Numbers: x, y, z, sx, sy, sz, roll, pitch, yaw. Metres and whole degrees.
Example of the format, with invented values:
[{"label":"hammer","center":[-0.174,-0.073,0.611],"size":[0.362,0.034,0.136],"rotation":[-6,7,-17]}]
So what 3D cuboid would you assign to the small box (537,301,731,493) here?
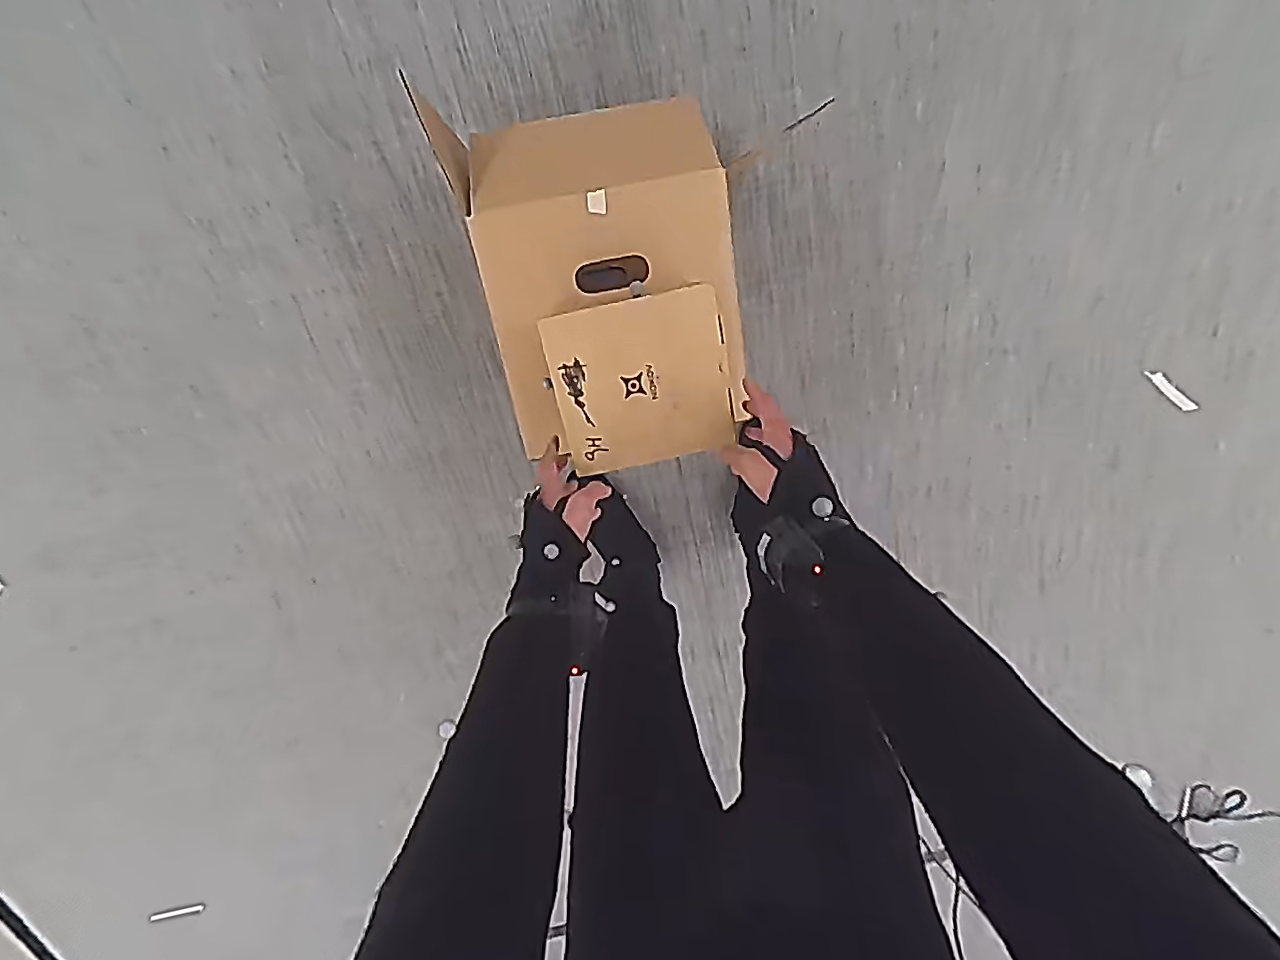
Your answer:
[{"label":"small box","center":[-0.008,-0.105,0.621],"size":[0.179,0.176,0.168],"rotation":[-12,111,0]}]
